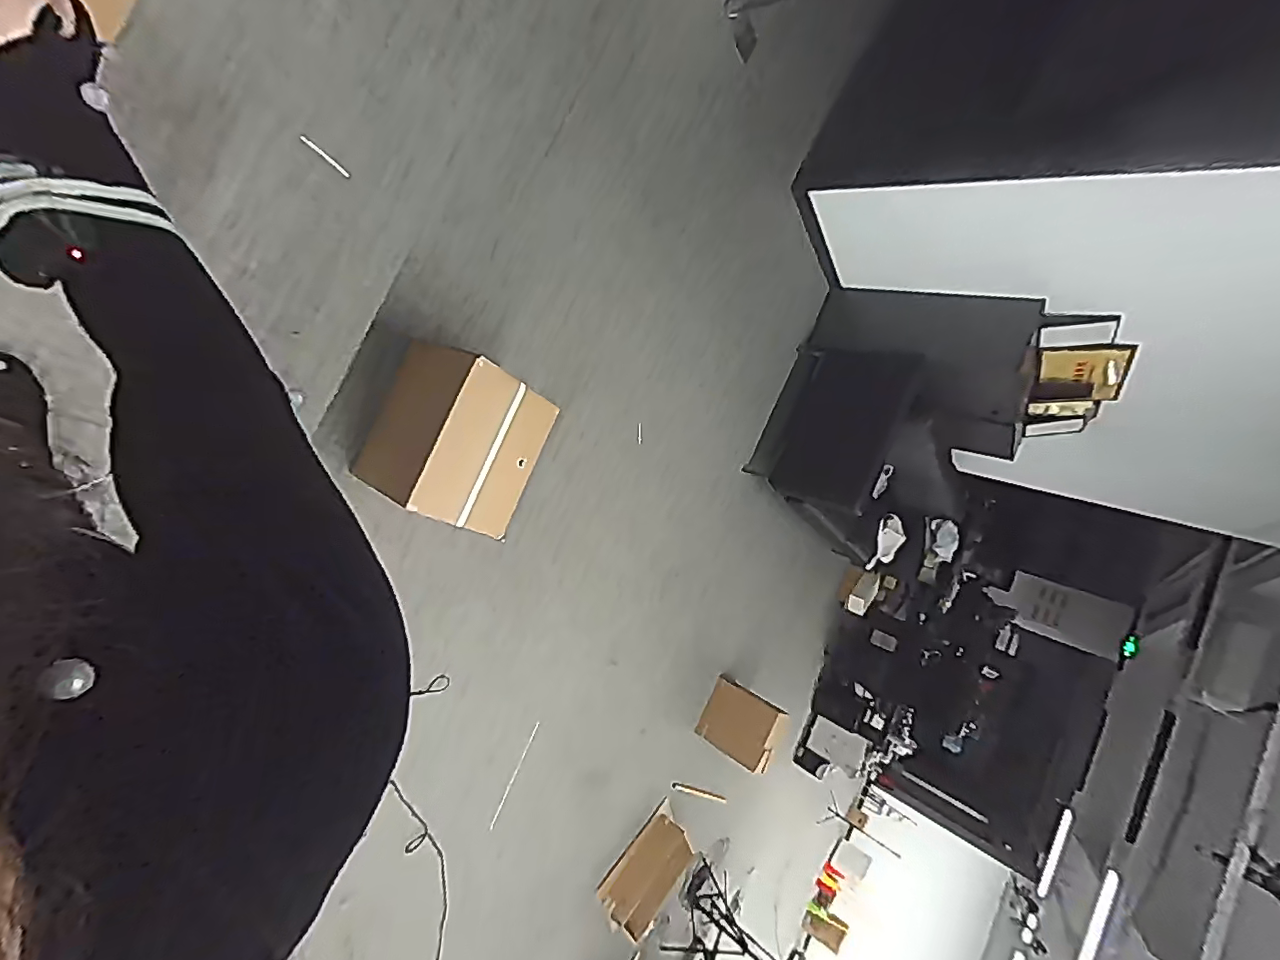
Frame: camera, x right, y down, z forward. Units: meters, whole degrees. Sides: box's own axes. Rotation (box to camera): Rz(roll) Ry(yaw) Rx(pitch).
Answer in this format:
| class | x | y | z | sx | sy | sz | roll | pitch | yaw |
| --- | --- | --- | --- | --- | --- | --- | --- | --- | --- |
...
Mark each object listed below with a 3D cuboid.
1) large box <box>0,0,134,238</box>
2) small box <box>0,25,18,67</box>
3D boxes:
| class | x | y | z | sx | sy | sz | roll | pitch | yaw |
| --- | --- | --- | --- | --- | --- | --- | --- | --- | --- |
| large box | -0.963 | -0.582 | 0.703 | 0.320 | 0.320 | 0.408 | 31 | 81 | -53 |
| small box | -0.805 | -0.471 | 0.546 | 0.179 | 0.176 | 0.168 | -59 | 141 | -14 |
